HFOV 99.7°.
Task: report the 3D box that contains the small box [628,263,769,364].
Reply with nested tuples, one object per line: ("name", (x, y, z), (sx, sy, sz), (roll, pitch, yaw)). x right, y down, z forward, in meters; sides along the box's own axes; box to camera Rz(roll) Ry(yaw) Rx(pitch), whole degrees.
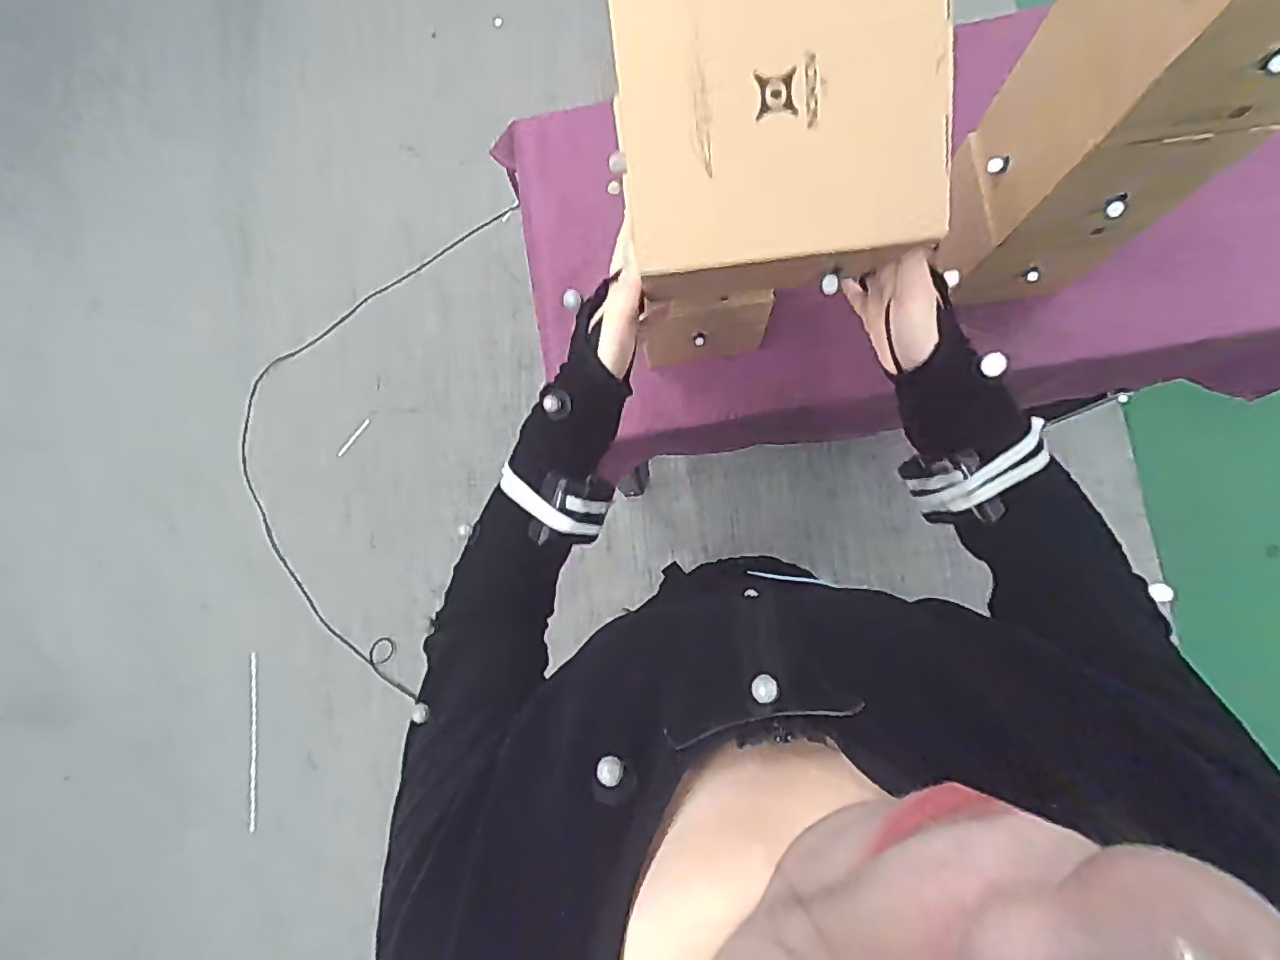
("small box", (0.077, -0.283, 0.784), (0.179, 0.176, 0.168), (-8, 80, 4))

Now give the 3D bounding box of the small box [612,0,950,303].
("small box", (0.080, -0.219, 0.368), (0.179, 0.176, 0.168), (-5, 103, 4))

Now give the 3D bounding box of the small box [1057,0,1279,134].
("small box", (0.485, -0.412, 0.433), (0.168, 0.176, 0.179), (-5, 80, 5))

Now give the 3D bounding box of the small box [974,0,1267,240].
("small box", (0.502, -0.387, 0.596), (0.168, 0.176, 0.179), (-3, 81, 5))

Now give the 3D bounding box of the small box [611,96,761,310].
("small box", (0.065, -0.313, 0.625), (0.168, 0.176, 0.179), (-7, 79, 4))
